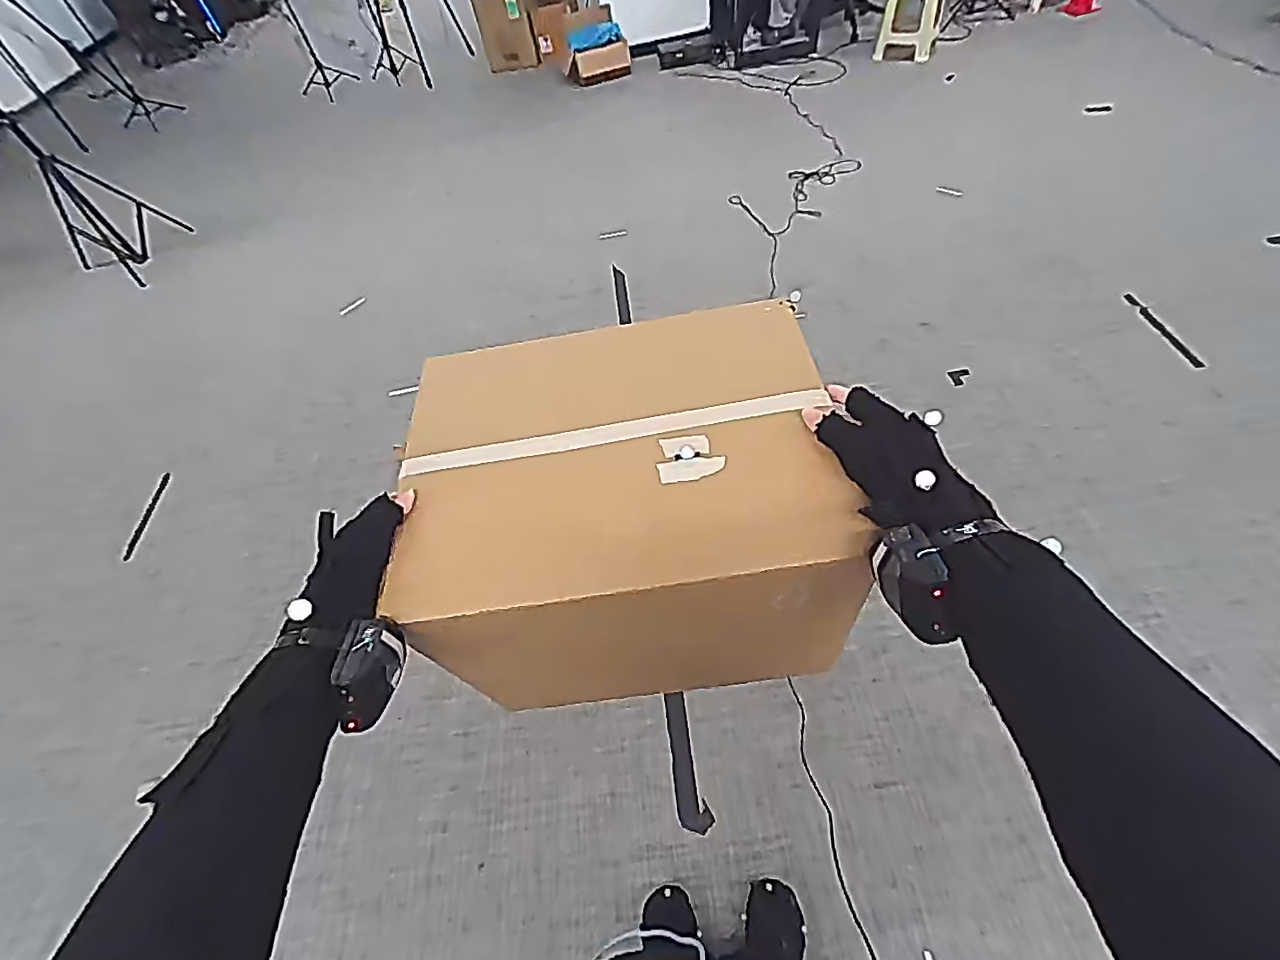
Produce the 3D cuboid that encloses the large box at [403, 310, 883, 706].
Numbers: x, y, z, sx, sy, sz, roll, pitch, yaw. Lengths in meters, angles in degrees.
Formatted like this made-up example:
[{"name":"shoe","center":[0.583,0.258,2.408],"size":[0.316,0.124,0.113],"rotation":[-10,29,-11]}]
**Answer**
[{"name":"large box","center":[0.002,0.049,0.641],"size":[0.408,0.320,0.320],"rotation":[-9,55,3]}]
